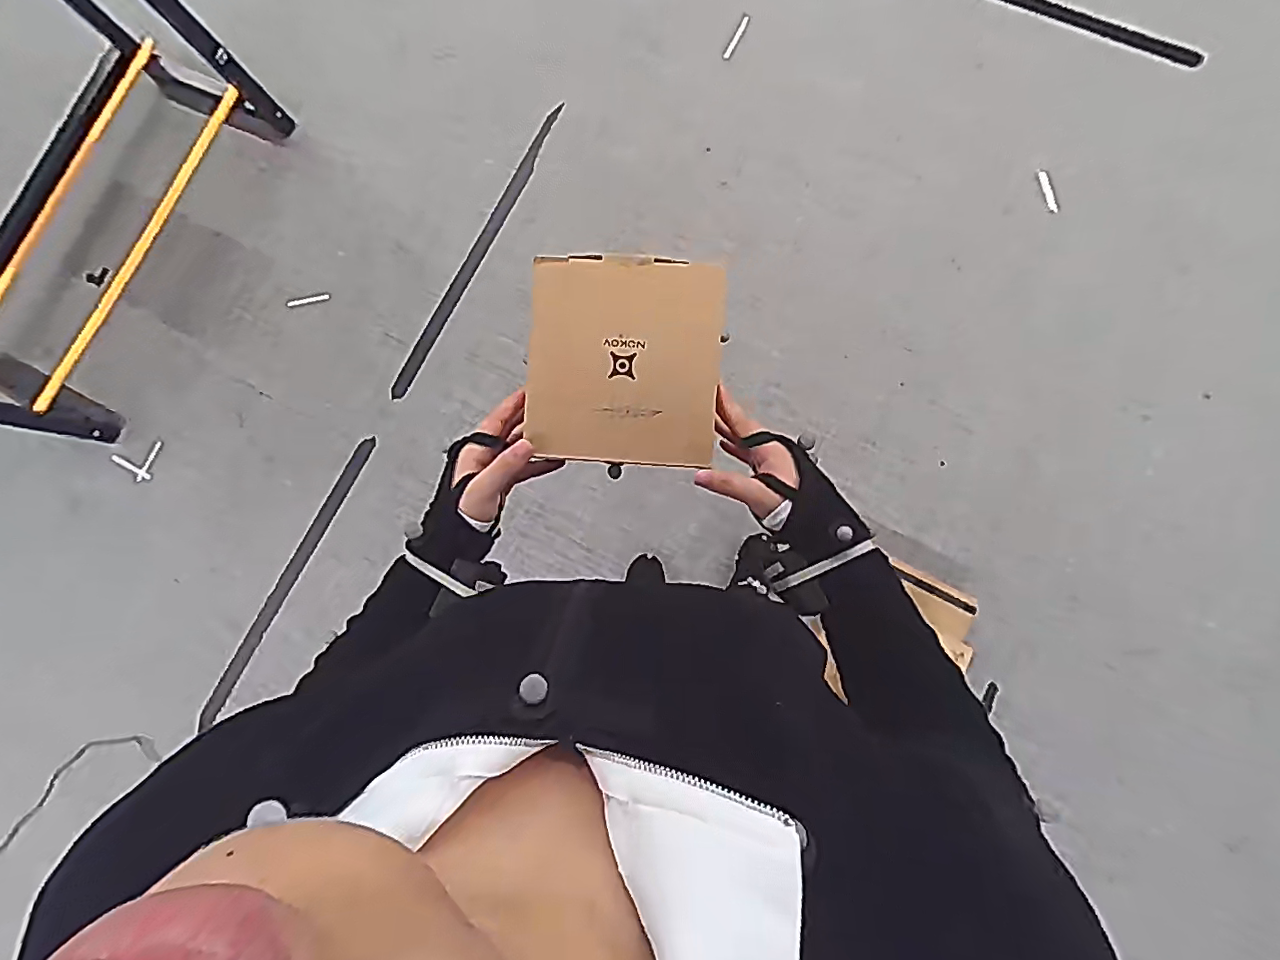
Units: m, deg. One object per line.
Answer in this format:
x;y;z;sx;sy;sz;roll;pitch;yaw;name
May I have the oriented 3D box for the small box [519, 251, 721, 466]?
-0.016;-0.106;0.543;0.168;0.176;0.179;4;92;2;small box
